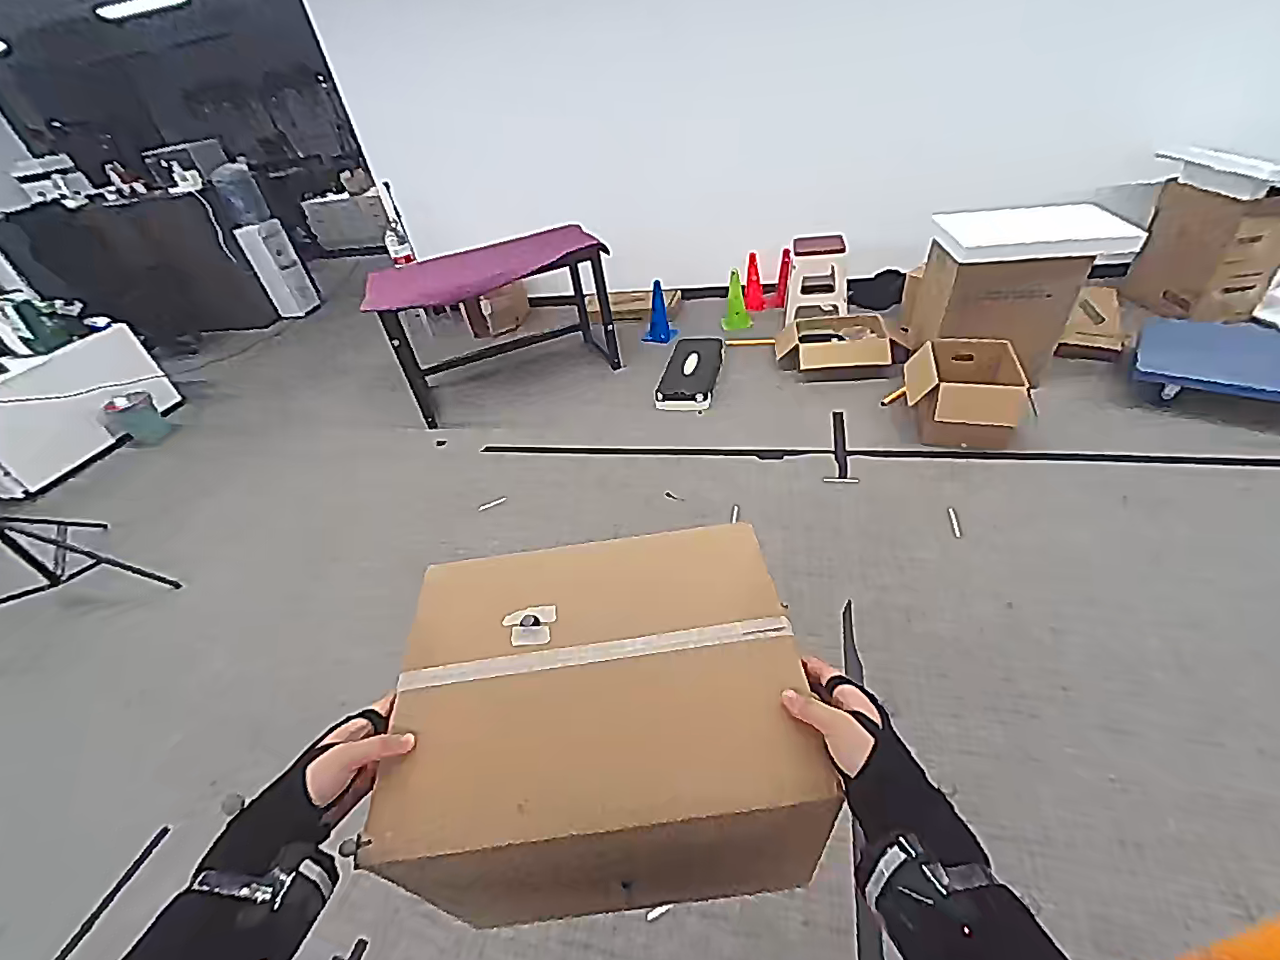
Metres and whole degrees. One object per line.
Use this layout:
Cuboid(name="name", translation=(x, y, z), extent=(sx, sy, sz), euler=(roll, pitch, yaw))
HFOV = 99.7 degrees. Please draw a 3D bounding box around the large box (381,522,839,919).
Cuboid(name="large box", translation=(-0.021, 0.294, 0.665), extent=(0.408, 0.320, 0.320), euler=(-10, 41, 1))
